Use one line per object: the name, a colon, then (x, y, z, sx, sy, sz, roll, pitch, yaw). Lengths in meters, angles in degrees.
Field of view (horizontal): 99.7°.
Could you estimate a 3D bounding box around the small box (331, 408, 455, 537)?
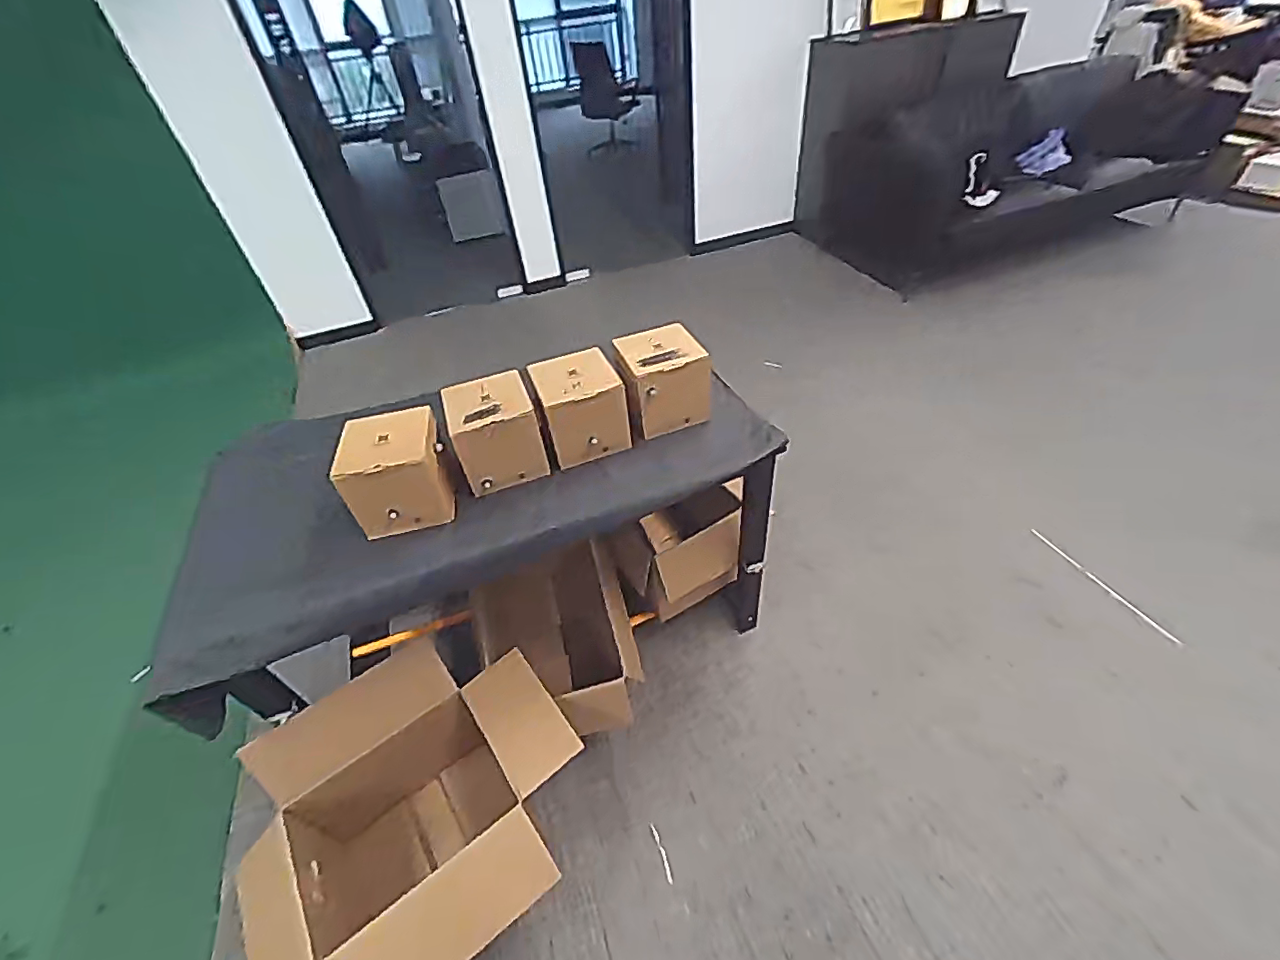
small box: (-0.476, -0.015, 1.071, 0.168, 0.176, 0.179, -12, 44, -6)
